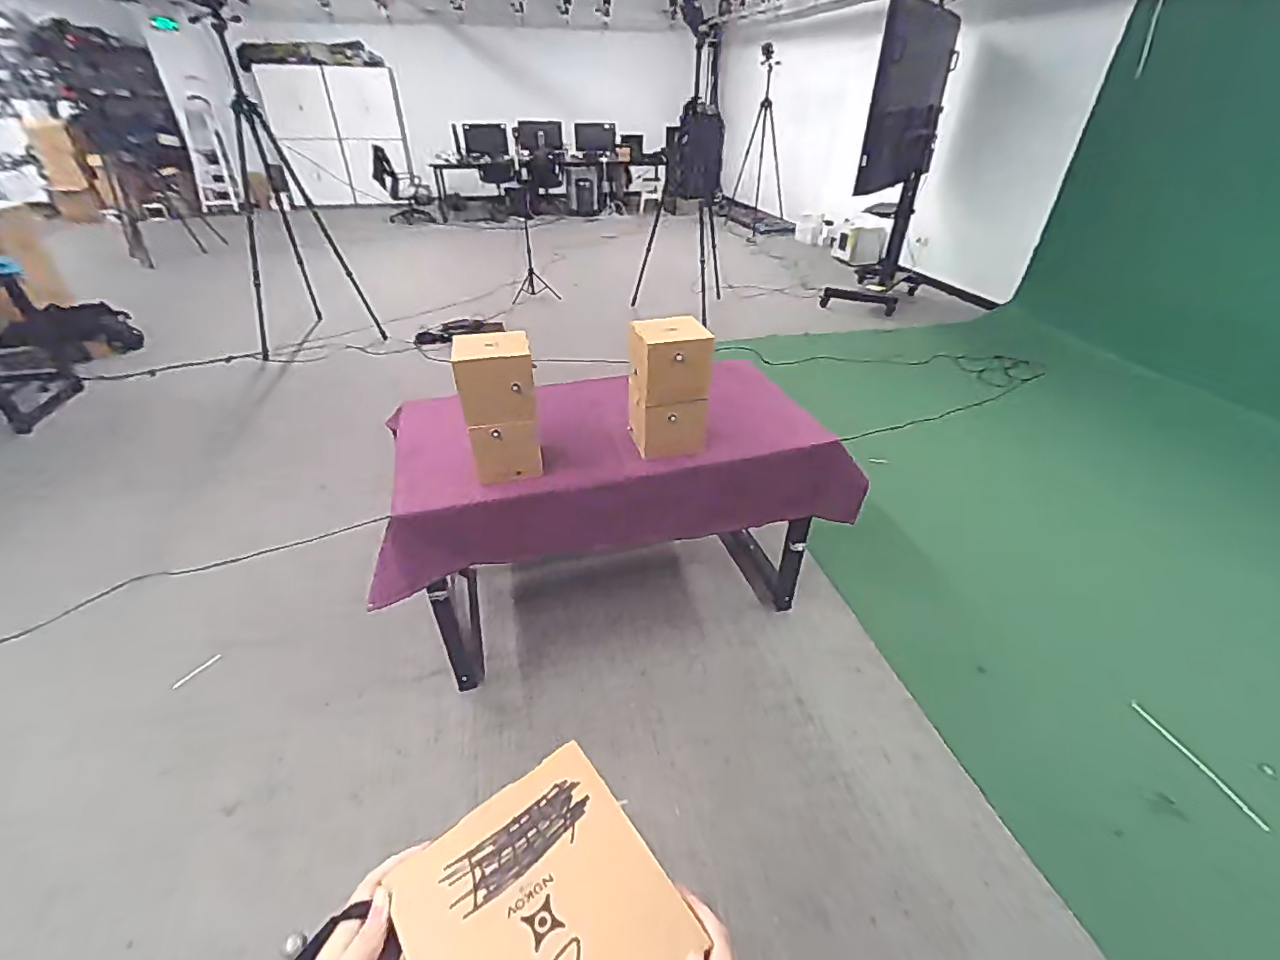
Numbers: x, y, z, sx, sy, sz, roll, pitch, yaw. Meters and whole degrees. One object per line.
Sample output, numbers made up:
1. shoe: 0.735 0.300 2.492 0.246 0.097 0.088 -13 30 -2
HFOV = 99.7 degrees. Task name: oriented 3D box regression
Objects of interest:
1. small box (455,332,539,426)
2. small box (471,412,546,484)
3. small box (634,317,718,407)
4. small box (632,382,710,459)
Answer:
1. small box: -0.339 -0.244 1.308 0.179 0.176 0.168 -8 36 -10
2. small box: -0.341 -0.110 1.402 0.168 0.176 0.179 -8 35 -11
3. small box: 0.086 -0.305 1.399 0.179 0.176 0.168 -10 37 -12
4. small box: 0.082 -0.171 1.492 0.179 0.176 0.168 -8 36 -13
